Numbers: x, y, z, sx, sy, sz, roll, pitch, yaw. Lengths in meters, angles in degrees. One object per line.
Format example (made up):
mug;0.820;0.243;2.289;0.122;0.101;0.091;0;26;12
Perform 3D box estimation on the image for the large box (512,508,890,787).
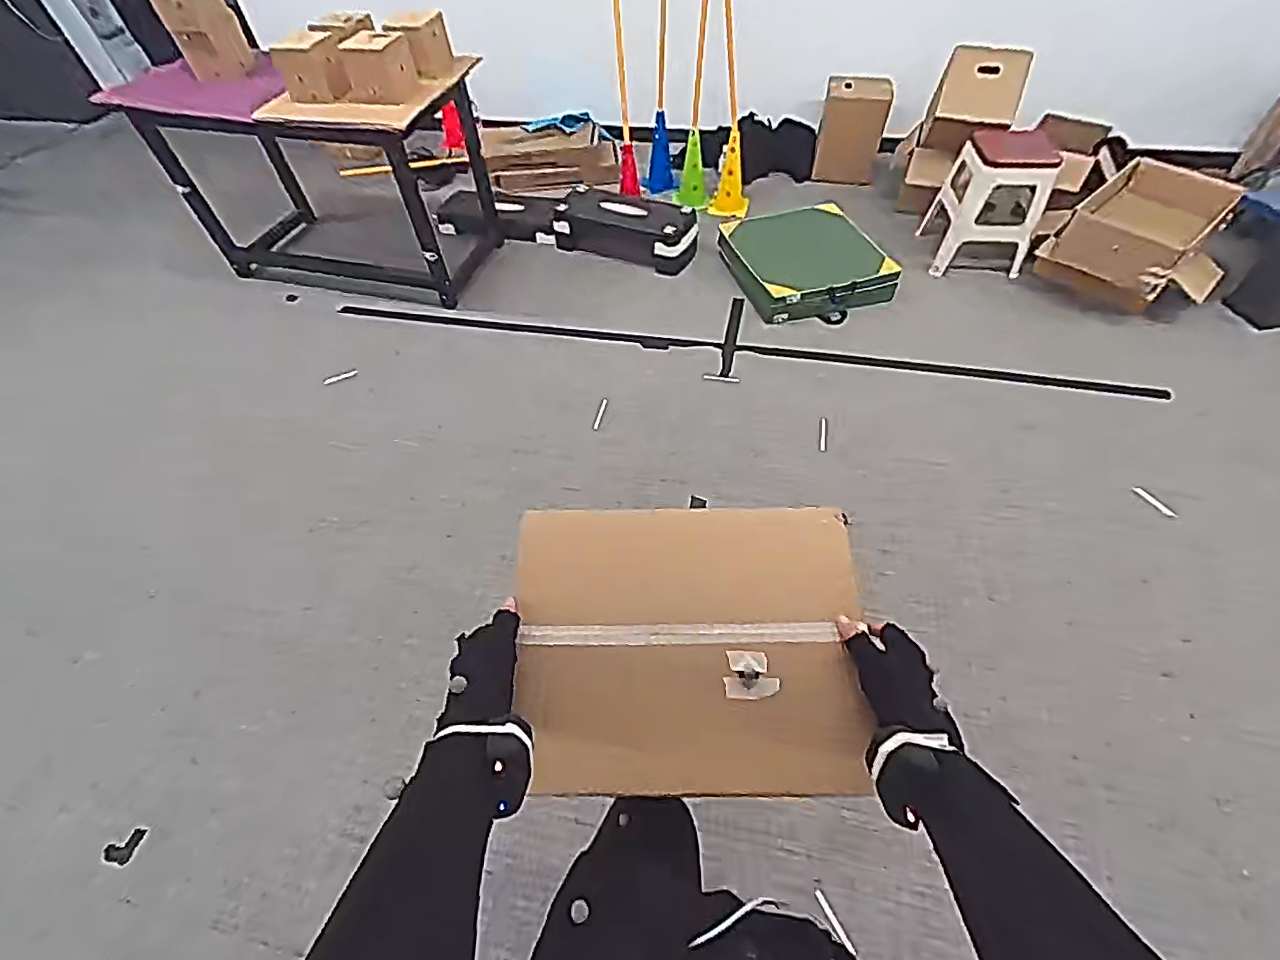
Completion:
large box;0.062;0.247;0.761;0.408;0.320;0.320;-1;62;1
